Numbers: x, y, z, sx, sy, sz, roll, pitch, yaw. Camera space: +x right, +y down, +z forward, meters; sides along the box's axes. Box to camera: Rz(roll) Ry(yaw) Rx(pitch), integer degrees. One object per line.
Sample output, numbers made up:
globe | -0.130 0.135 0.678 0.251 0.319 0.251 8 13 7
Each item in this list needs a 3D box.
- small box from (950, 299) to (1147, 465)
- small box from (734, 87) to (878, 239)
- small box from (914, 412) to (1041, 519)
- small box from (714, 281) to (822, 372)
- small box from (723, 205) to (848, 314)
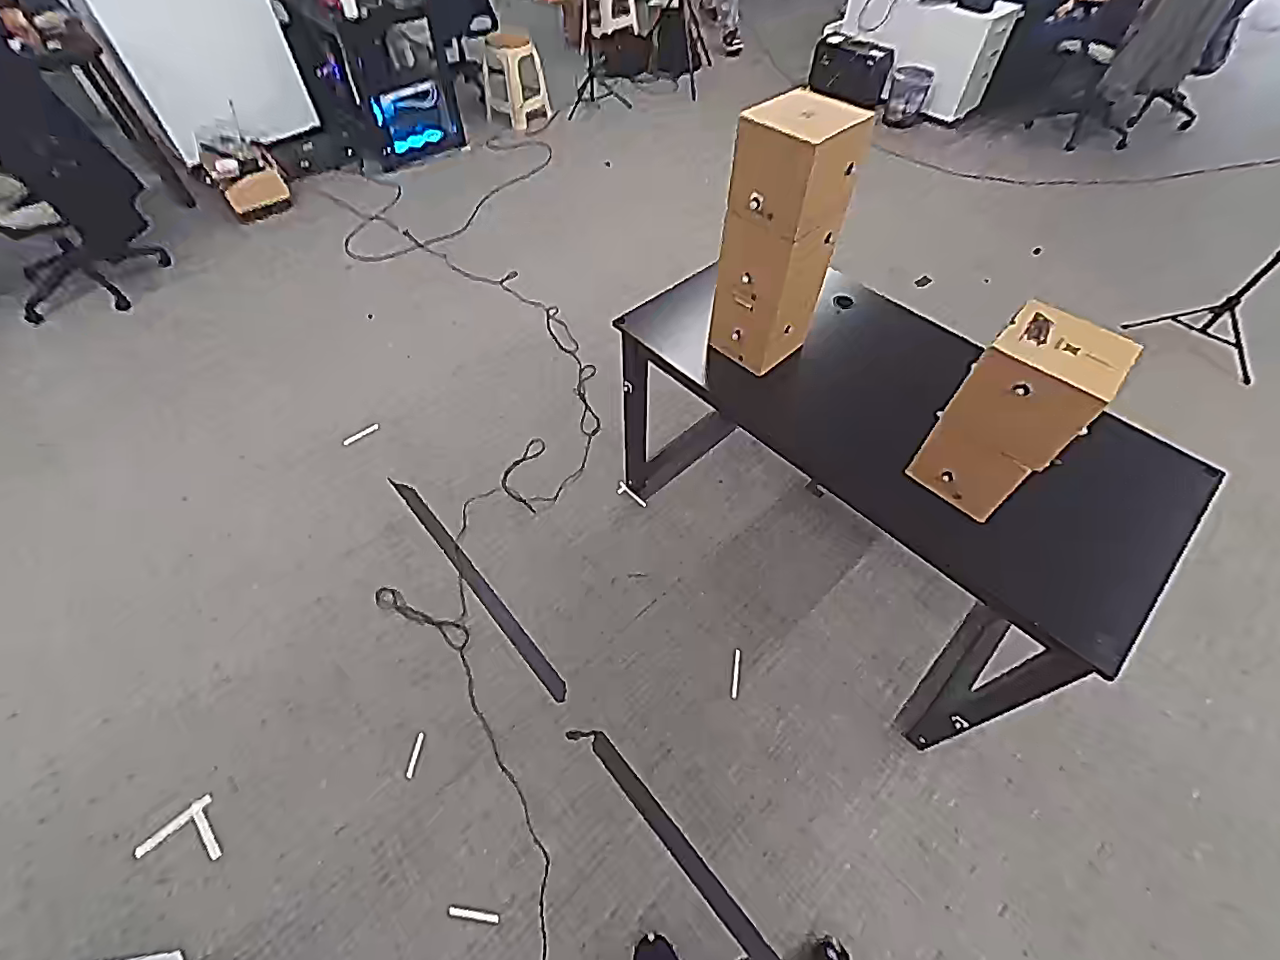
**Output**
small box | 0.651 -0.156 0.883 0.179 0.176 0.168 38 63 23
small box | 0.289 -0.572 0.981 0.179 0.176 0.168 -38 62 -24
small box | 0.655 -0.063 1.019 0.179 0.176 0.168 -37 62 -24
small box | 0.286 -0.380 1.246 0.179 0.176 0.168 -39 63 -24
small box | 0.288 -0.478 1.113 0.179 0.176 0.168 -38 62 -24
